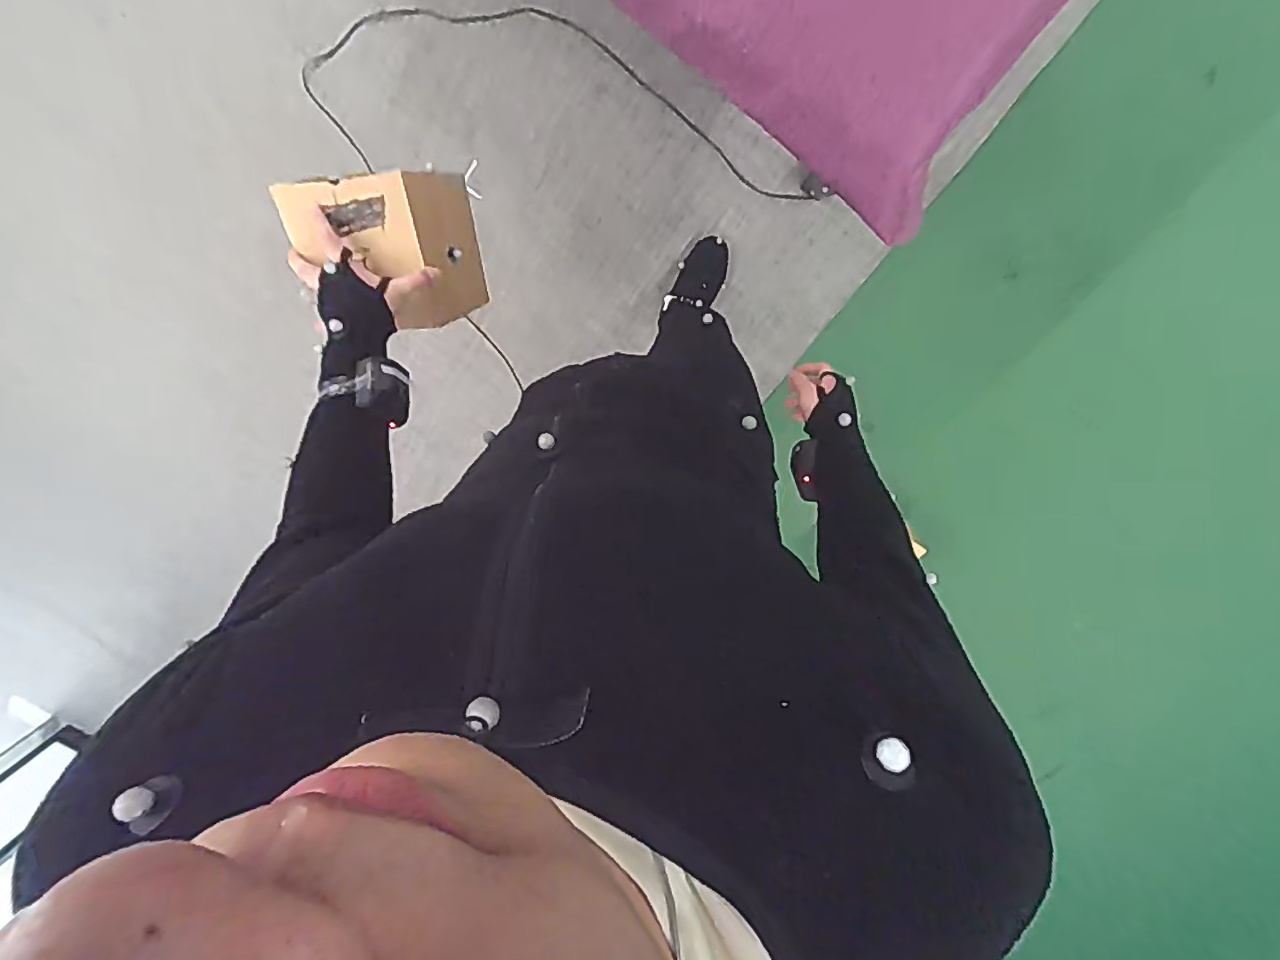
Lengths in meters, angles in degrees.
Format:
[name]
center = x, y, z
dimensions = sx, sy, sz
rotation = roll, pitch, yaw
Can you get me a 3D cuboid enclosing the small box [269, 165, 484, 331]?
[small box]
center = -0.326, -0.305, 0.710
dimensions = 0.168, 0.176, 0.179
rotation = 0, 119, 9
